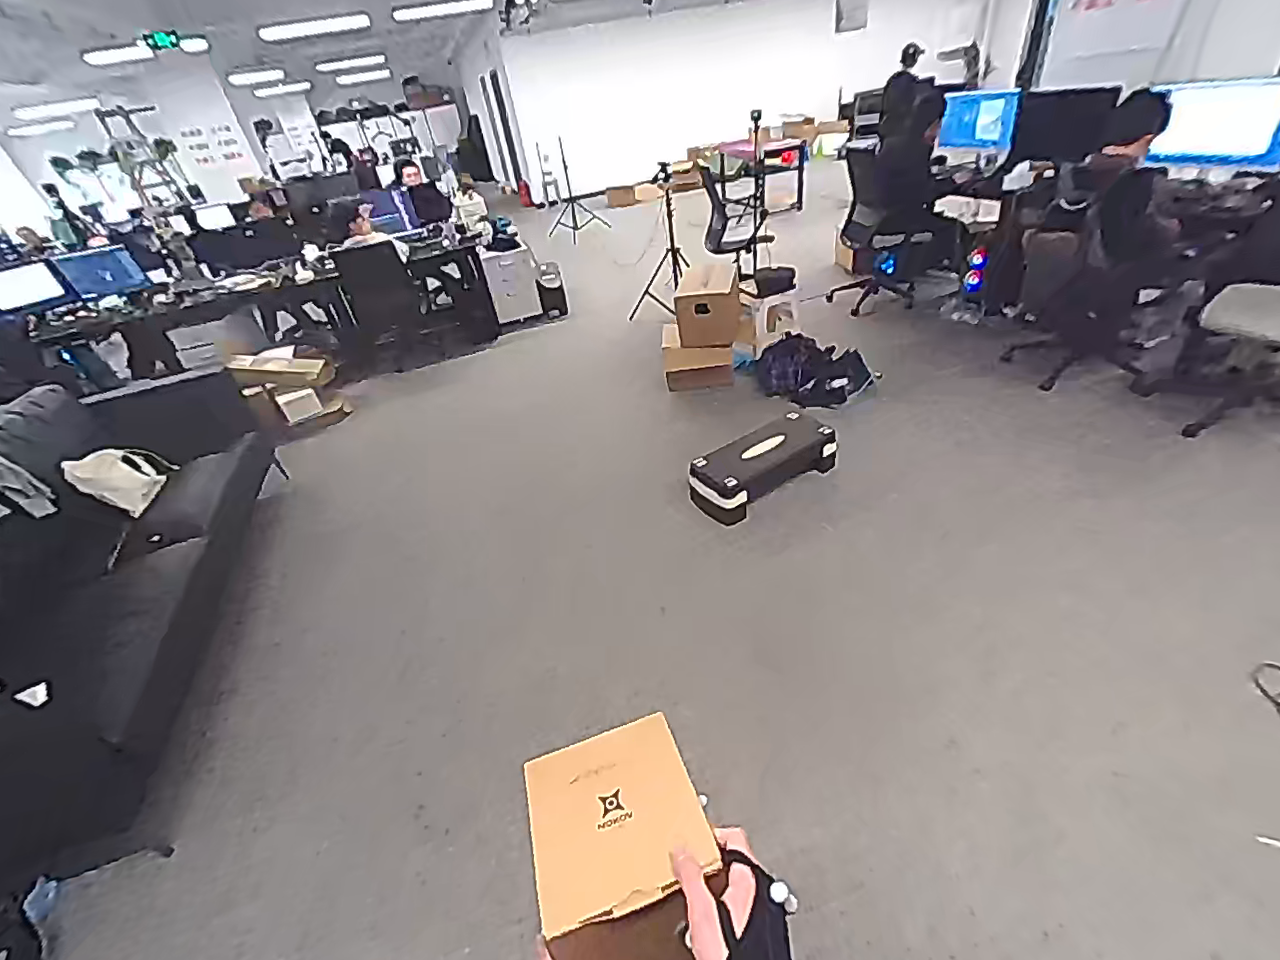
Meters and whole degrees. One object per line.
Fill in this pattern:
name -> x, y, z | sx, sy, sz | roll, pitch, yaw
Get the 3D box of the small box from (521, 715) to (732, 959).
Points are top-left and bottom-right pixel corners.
small box -> -0.016, 0.396, 0.567 | 0.168, 0.176, 0.179 | -17, 26, -10
